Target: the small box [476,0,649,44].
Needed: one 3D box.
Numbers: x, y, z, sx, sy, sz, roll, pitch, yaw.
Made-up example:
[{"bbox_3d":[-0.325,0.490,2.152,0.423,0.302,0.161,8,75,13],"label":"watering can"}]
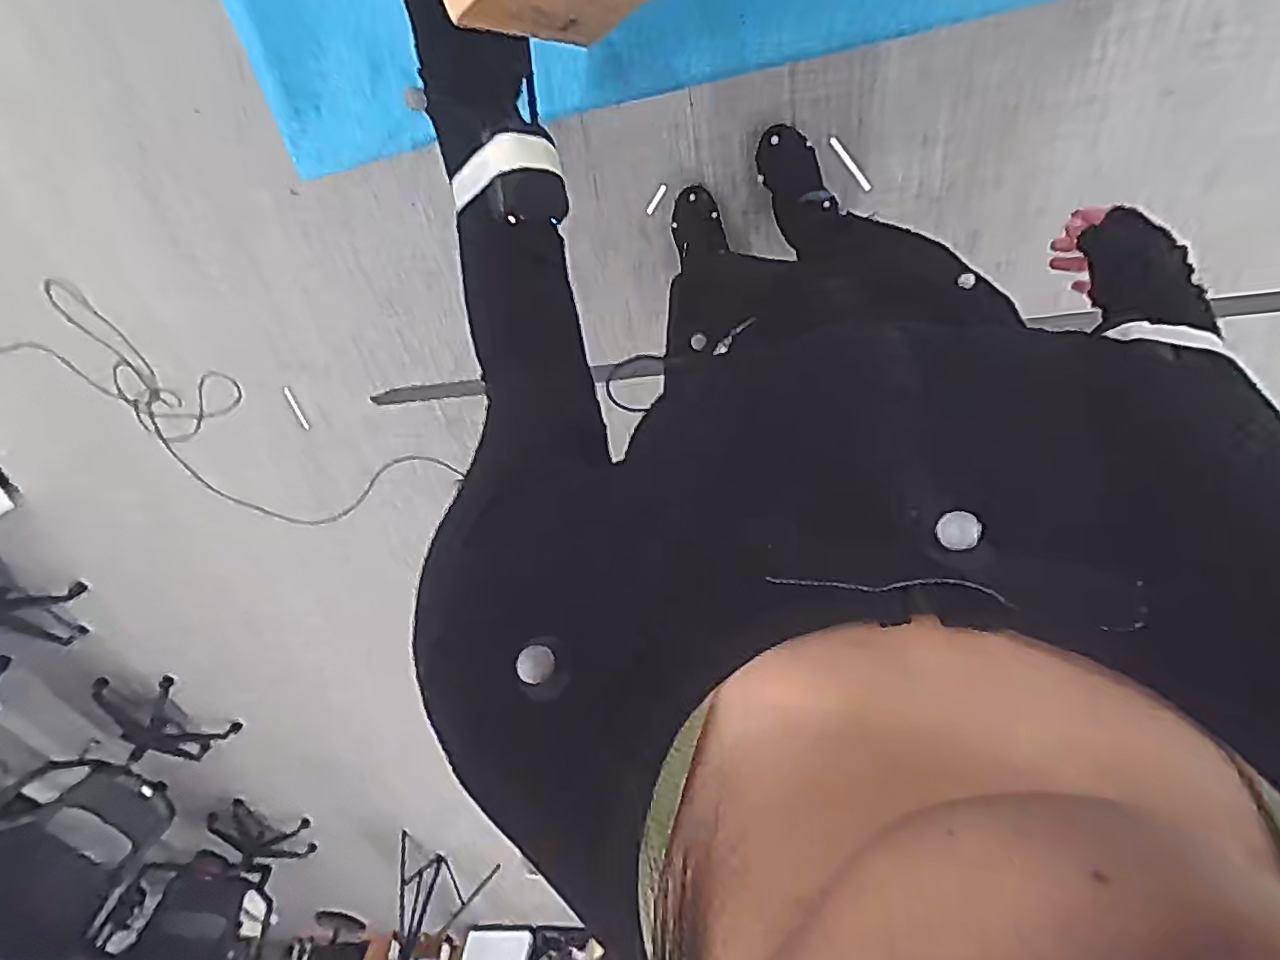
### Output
[{"bbox_3d":[-0.043,-0.405,0.319,0.176,0.168,0.179,-10,115,34],"label":"small box"}]
